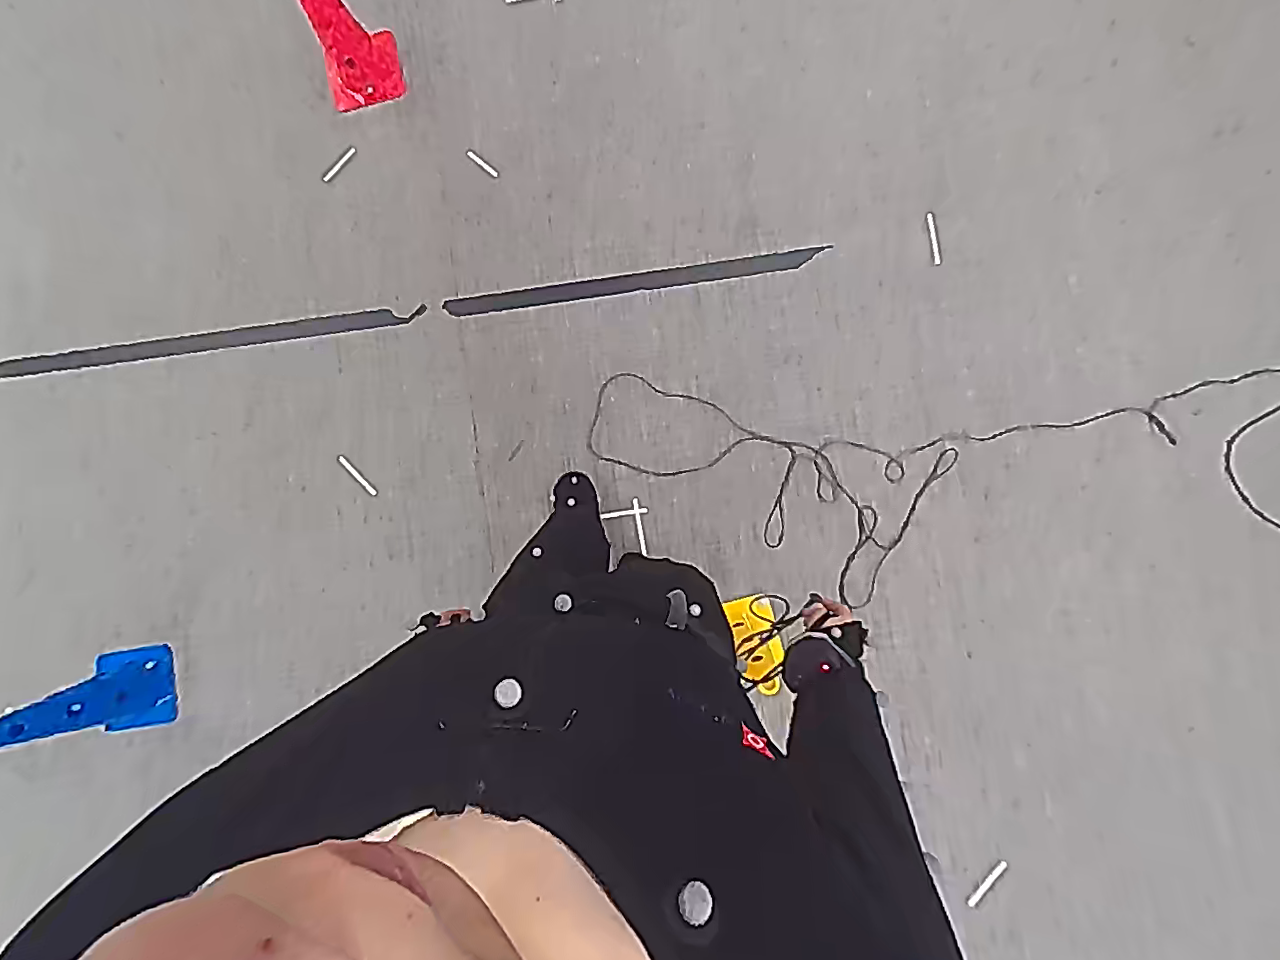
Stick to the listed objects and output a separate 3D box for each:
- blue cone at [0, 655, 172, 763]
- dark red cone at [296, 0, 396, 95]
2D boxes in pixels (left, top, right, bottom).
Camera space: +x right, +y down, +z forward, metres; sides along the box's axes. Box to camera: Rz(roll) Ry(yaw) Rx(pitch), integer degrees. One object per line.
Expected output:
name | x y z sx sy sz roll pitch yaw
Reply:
blue cone | -1.293 0.539 1.208 0.193 0.380 0.192 -7 87 1
dark red cone | -0.763 -1.139 1.272 0.202 0.394 0.201 -16 87 1
